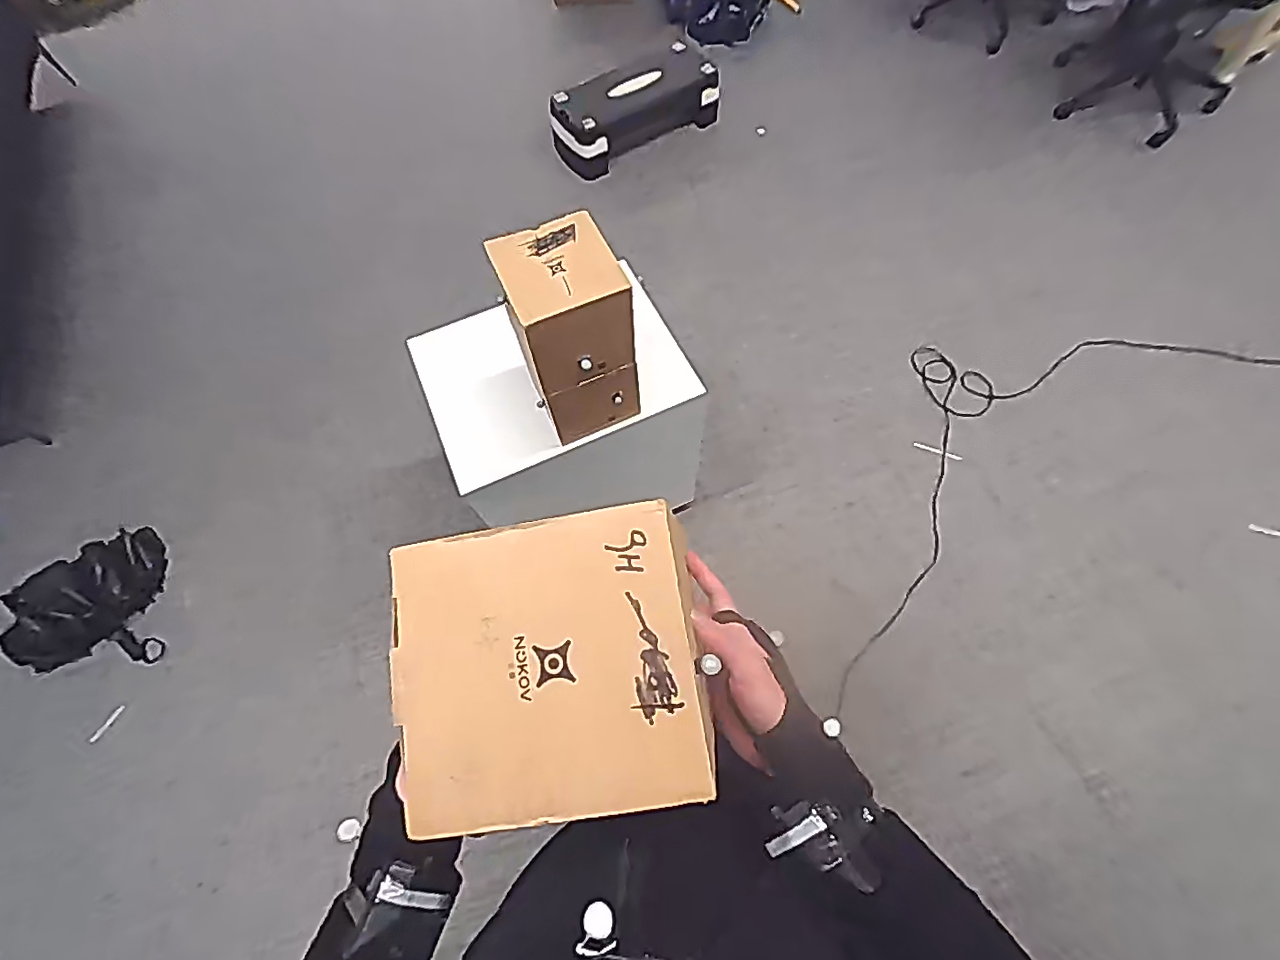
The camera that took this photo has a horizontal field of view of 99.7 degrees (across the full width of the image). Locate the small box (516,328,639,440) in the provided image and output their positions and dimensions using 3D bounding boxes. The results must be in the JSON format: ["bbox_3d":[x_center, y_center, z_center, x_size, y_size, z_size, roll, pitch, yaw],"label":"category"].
[{"bbox_3d":[-0.108,-0.196,0.999,0.168,0.176,0.179,-23,65,-10],"label":"small box"}]

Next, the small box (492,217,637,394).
[{"bbox_3d":[-0.113,-0.268,0.852,0.168,0.176,0.179,-22,67,-9],"label":"small box"}]
